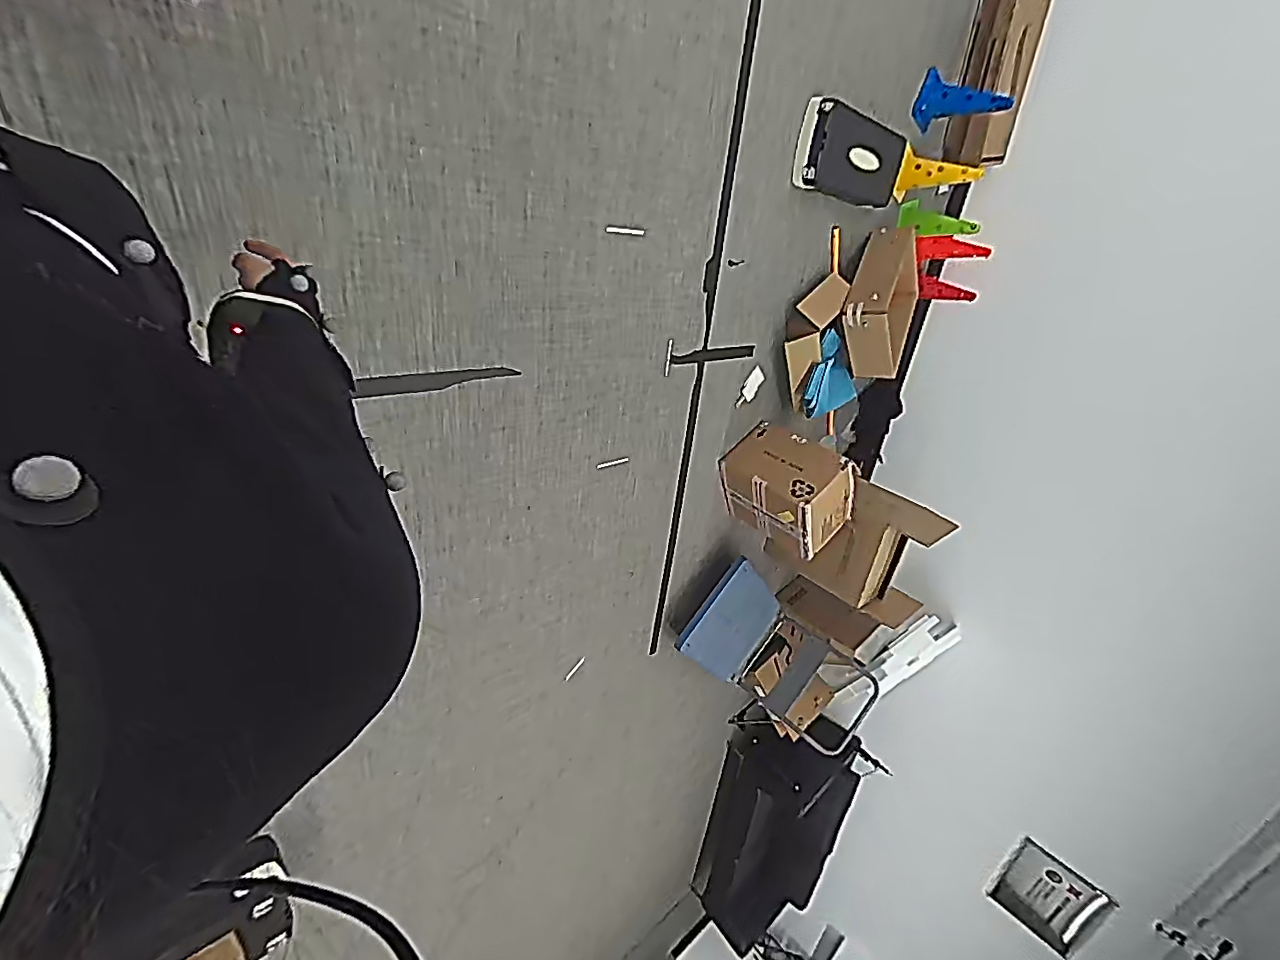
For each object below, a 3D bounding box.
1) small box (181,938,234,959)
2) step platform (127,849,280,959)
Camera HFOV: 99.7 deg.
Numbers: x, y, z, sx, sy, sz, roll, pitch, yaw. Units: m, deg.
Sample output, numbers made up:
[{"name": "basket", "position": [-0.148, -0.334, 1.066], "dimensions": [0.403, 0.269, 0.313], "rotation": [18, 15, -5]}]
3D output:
[{"name": "small box", "position": [-1.158, 1.368, 1.417], "dimensions": [0.168, 0.176, 0.179], "rotation": [-16, 125, -41]}, {"name": "step platform", "position": [-1.376, 1.344, 1.446], "dimensions": [0.684, 0.204, 0.286], "rotation": [-18, 127, -41]}]
